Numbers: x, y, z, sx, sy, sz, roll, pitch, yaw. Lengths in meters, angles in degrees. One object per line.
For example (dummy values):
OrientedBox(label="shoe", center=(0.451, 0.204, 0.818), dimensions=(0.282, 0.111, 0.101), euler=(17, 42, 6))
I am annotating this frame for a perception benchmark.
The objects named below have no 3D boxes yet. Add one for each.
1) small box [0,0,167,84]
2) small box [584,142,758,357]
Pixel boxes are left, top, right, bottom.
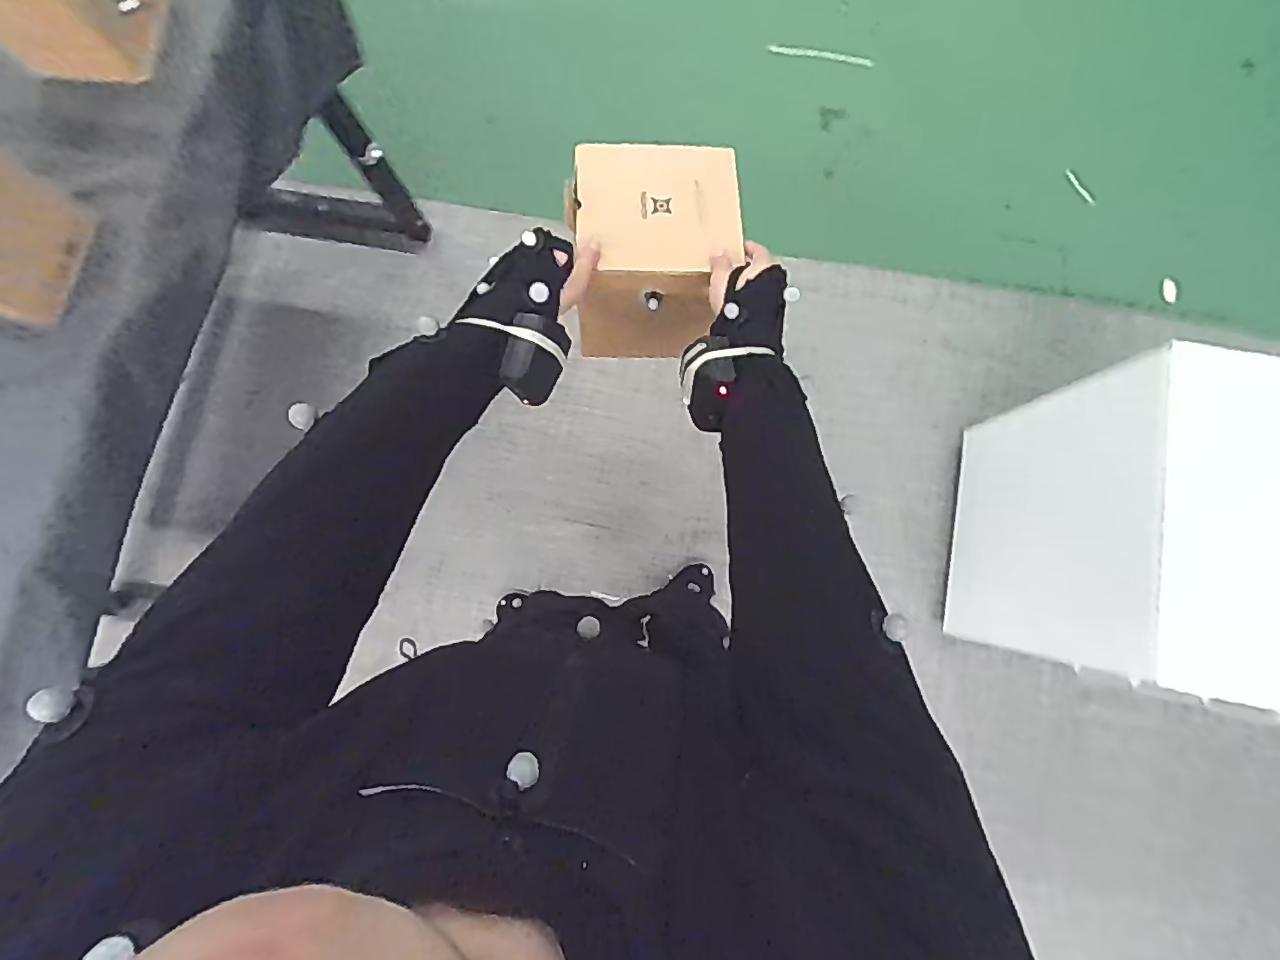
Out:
OrientedBox(label="small box", center=(-0.785, -0.659, 0.704), dimensions=(0.179, 0.176, 0.168), euler=(4, 81, 2))
OrientedBox(label="small box", center=(0.026, -0.258, 0.634), dimensions=(0.179, 0.176, 0.168), euler=(0, 73, -4))
